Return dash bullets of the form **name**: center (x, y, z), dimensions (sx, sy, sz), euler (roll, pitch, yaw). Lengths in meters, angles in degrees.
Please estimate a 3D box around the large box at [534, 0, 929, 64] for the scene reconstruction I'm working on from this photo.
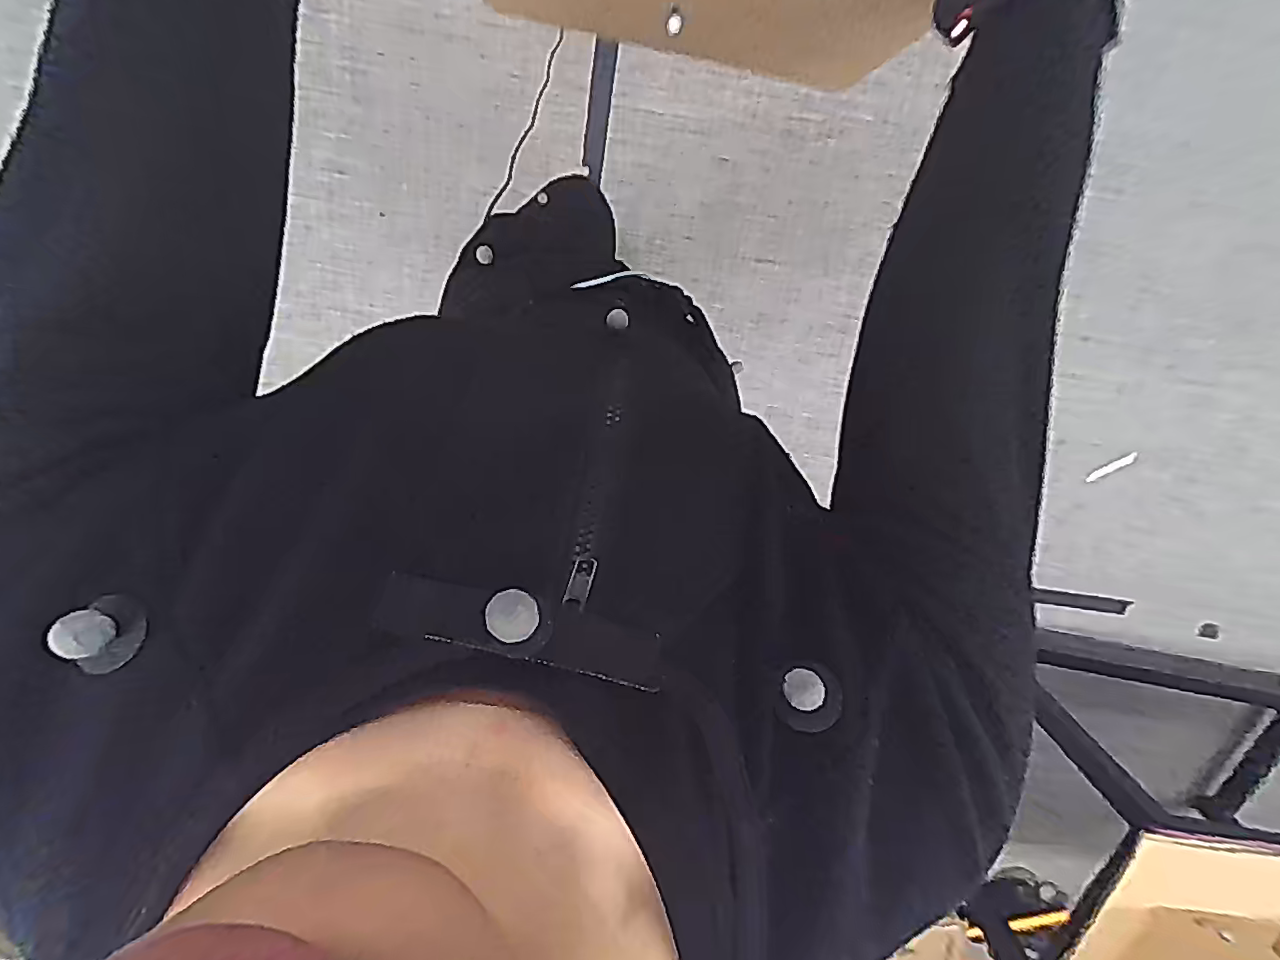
- **large box**: center (0.064, -0.563, 0.398), dimensions (0.408, 0.320, 0.320), euler (11, 114, -2)
